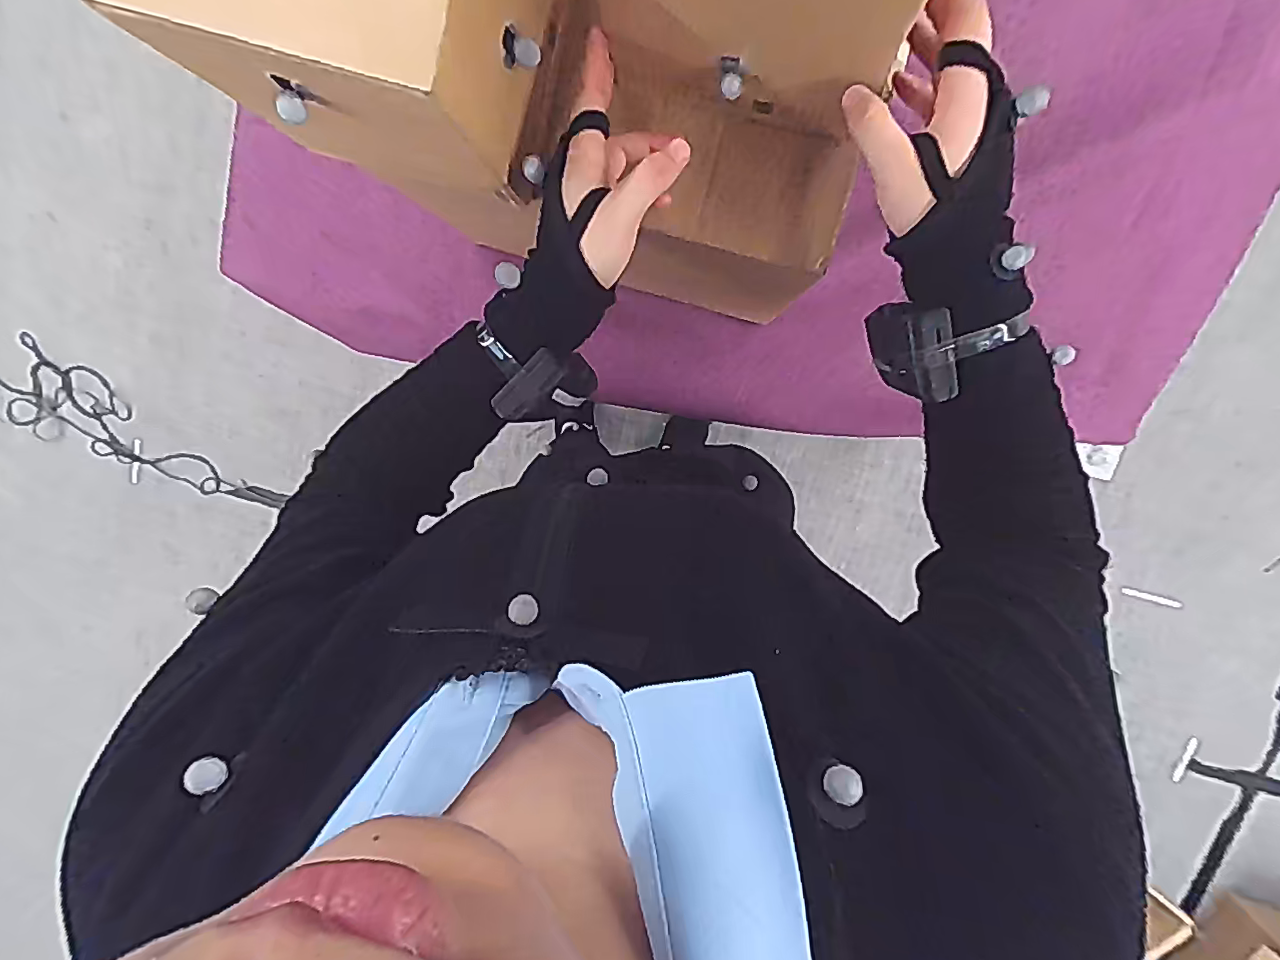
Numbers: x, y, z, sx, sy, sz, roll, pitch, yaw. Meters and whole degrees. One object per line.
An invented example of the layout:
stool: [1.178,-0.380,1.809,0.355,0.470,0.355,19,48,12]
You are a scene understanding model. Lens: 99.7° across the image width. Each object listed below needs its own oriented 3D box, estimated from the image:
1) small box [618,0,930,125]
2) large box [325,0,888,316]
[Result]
small box: [0.079,-0.327,0.273,0.168,0.176,0.179,15,100,4]
large box: [0.000,-0.372,0.523,0.408,0.320,0.320,15,99,3]
